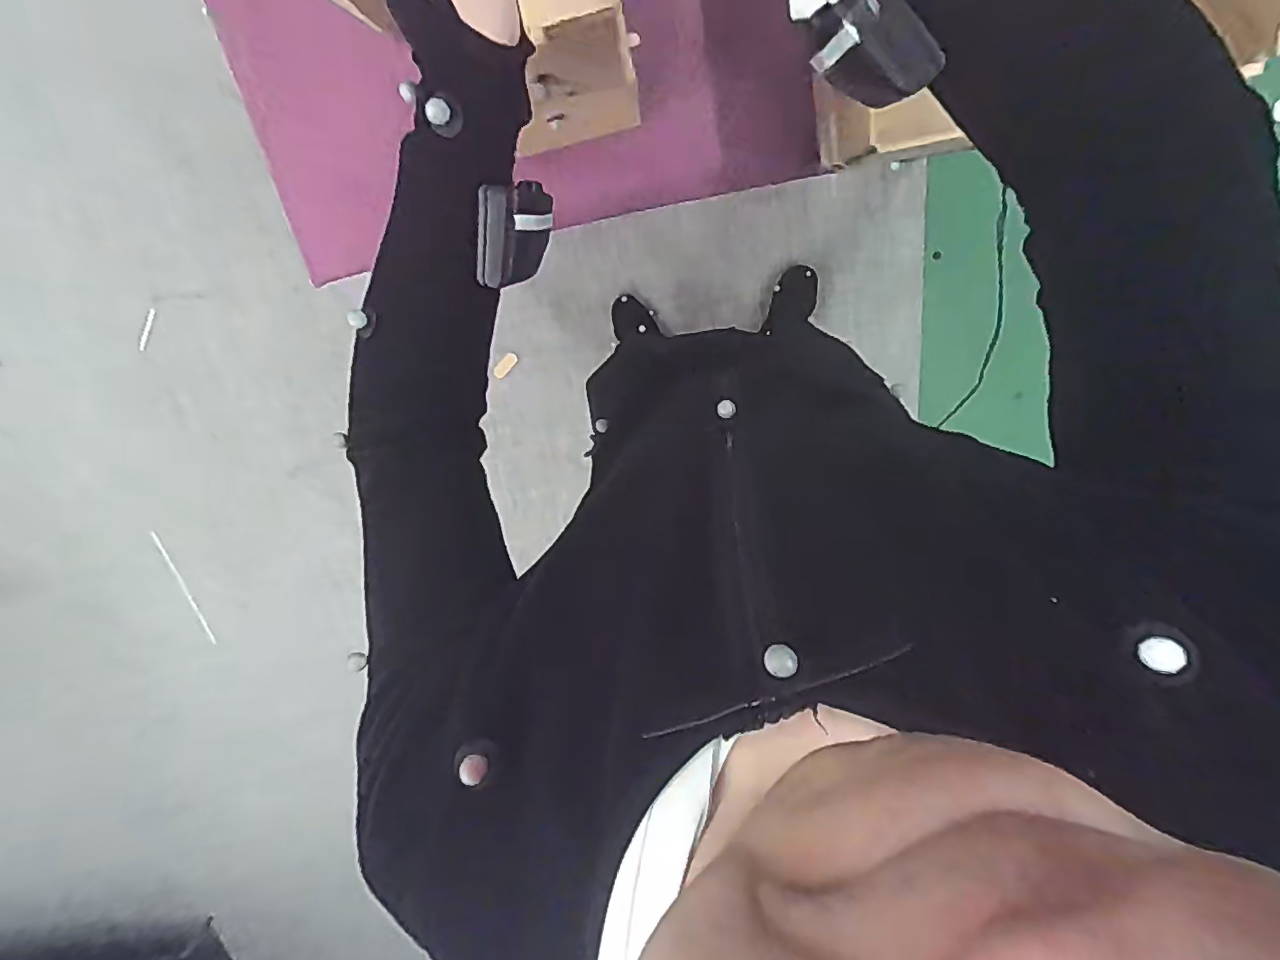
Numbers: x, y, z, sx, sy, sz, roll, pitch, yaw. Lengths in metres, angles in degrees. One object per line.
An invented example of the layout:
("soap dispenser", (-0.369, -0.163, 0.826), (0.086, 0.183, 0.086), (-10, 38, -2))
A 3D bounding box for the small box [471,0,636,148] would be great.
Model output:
("small box", (-0.108, -0.512, 0.629), (0.179, 0.176, 0.168), (-12, 110, 6))

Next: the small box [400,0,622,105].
("small box", (-0.115, -0.459, 0.475), (0.168, 0.176, 0.179), (-11, 110, 6))

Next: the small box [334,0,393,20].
("small box", (-0.357, -0.652, 0.583), (0.179, 0.176, 0.168), (30, 109, -10))
